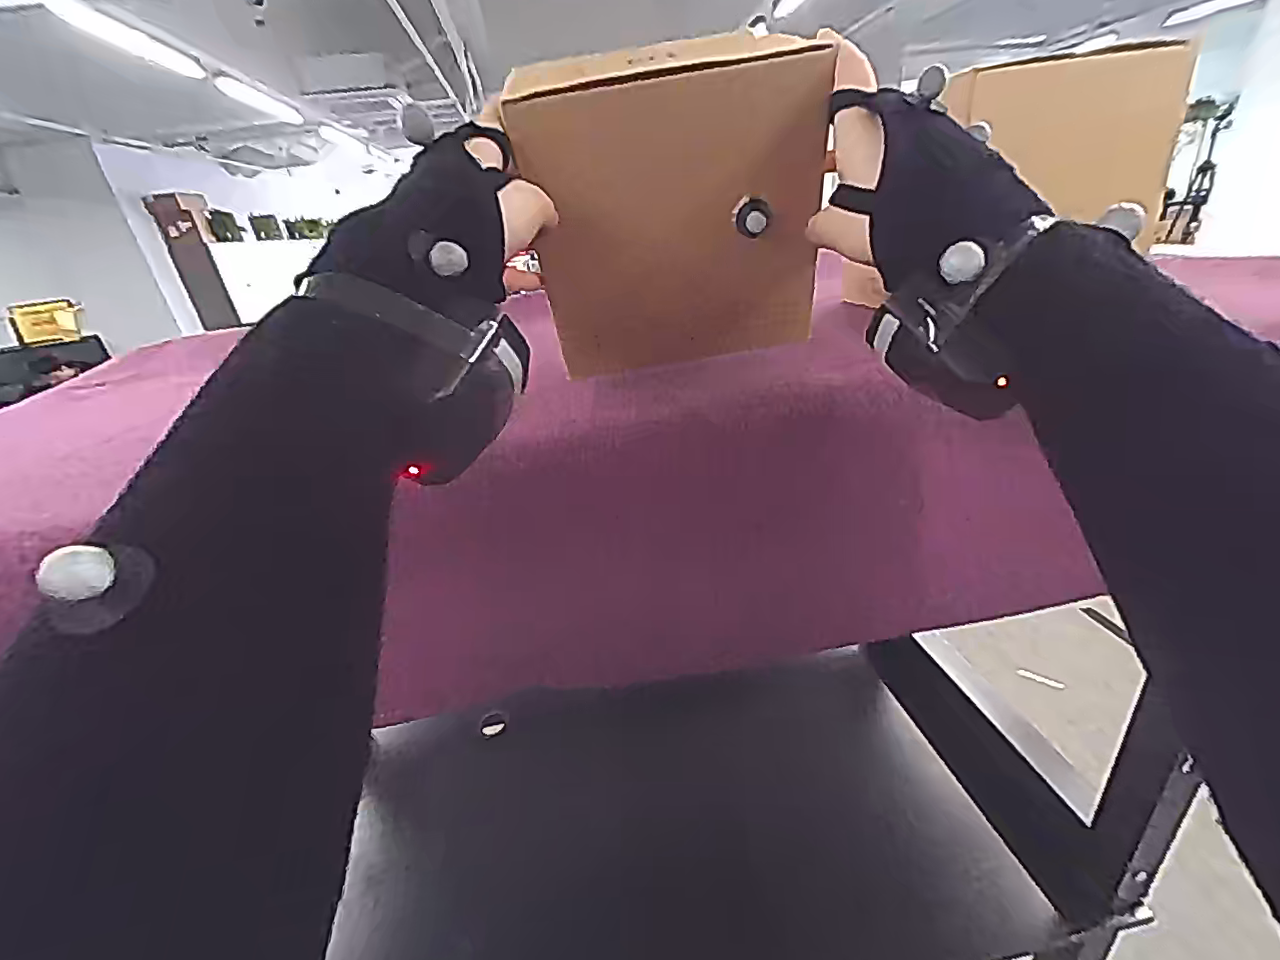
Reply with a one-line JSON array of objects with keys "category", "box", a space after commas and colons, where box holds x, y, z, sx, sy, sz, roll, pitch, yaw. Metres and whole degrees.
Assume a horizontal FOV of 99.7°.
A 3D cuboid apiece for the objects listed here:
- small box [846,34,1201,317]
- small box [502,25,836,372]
[{"category": "small box", "box": [0.296, -0.247, 0.464, 0.179, 0.176, 0.168, -11, 25, -6]}, {"category": "small box", "box": [0.017, -0.198, 0.385, 0.179, 0.176, 0.168, -11, 41, 0]}]
